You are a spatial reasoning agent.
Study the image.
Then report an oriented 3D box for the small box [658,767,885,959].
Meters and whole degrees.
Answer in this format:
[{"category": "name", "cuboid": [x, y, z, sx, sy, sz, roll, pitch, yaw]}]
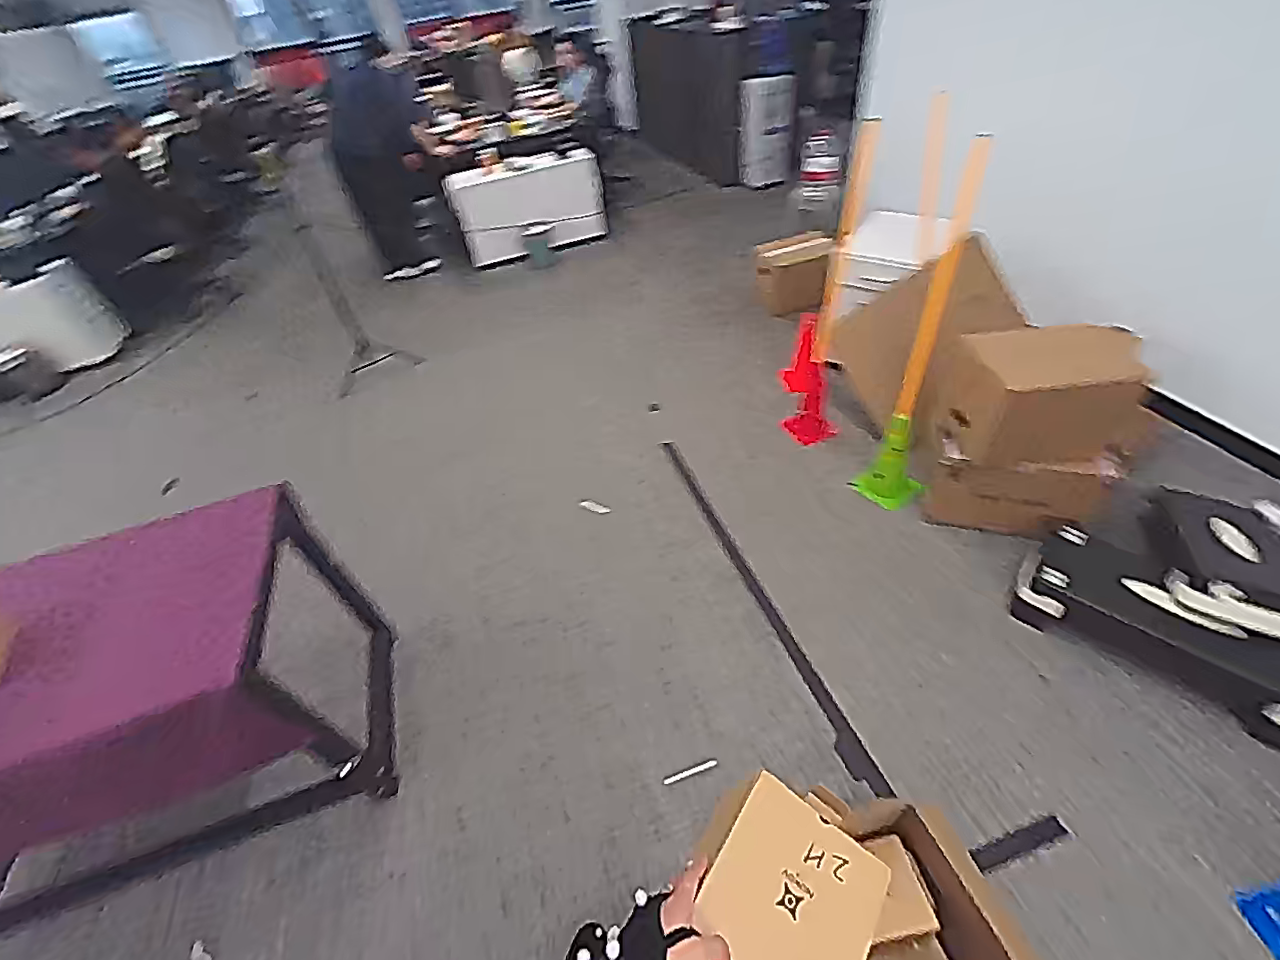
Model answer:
[{"category": "small box", "cuboid": [0.136, 0.471, 0.609, 0.168, 0.176, 0.179, 34, 51, 16]}]
